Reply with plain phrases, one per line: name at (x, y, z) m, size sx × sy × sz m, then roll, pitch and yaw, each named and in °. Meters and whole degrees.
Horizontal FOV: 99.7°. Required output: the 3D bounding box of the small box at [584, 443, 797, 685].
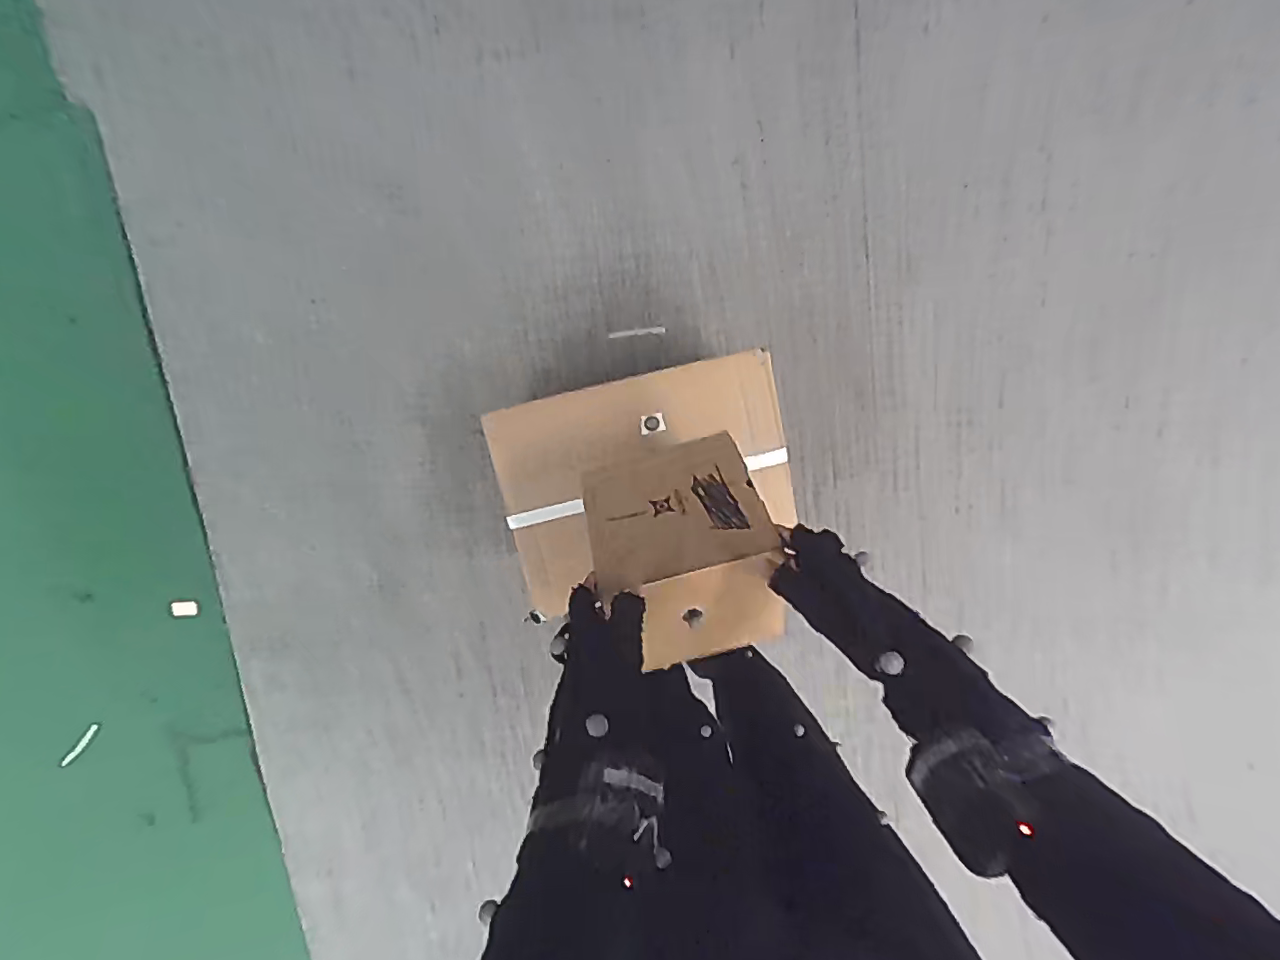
small box at (0.051, 0.091, 0.583) m, size 0.179 × 0.168 × 0.176 m, roll -16°, pitch 133°, yaw -3°
